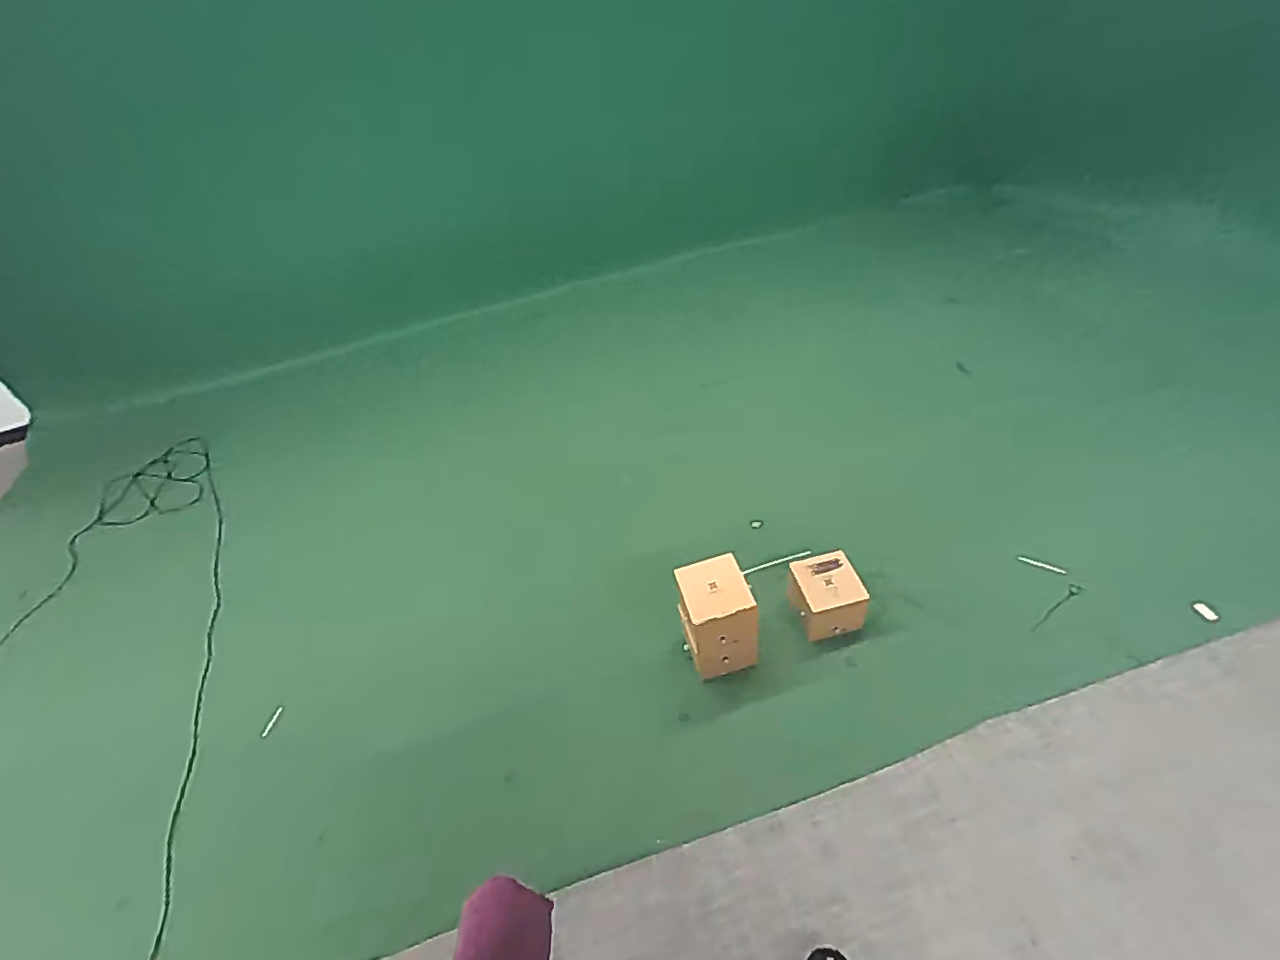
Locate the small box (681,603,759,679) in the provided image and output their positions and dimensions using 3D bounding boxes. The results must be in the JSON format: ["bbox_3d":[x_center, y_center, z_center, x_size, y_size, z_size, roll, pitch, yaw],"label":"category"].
[{"bbox_3d":[0.230,0.442,1.555,0.179,0.176,0.168,-17,44,-3],"label":"small box"}]

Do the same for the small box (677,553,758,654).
[{"bbox_3d":[0.206,0.329,1.439,0.168,0.176,0.179,-17,44,-4],"label":"small box"}]
